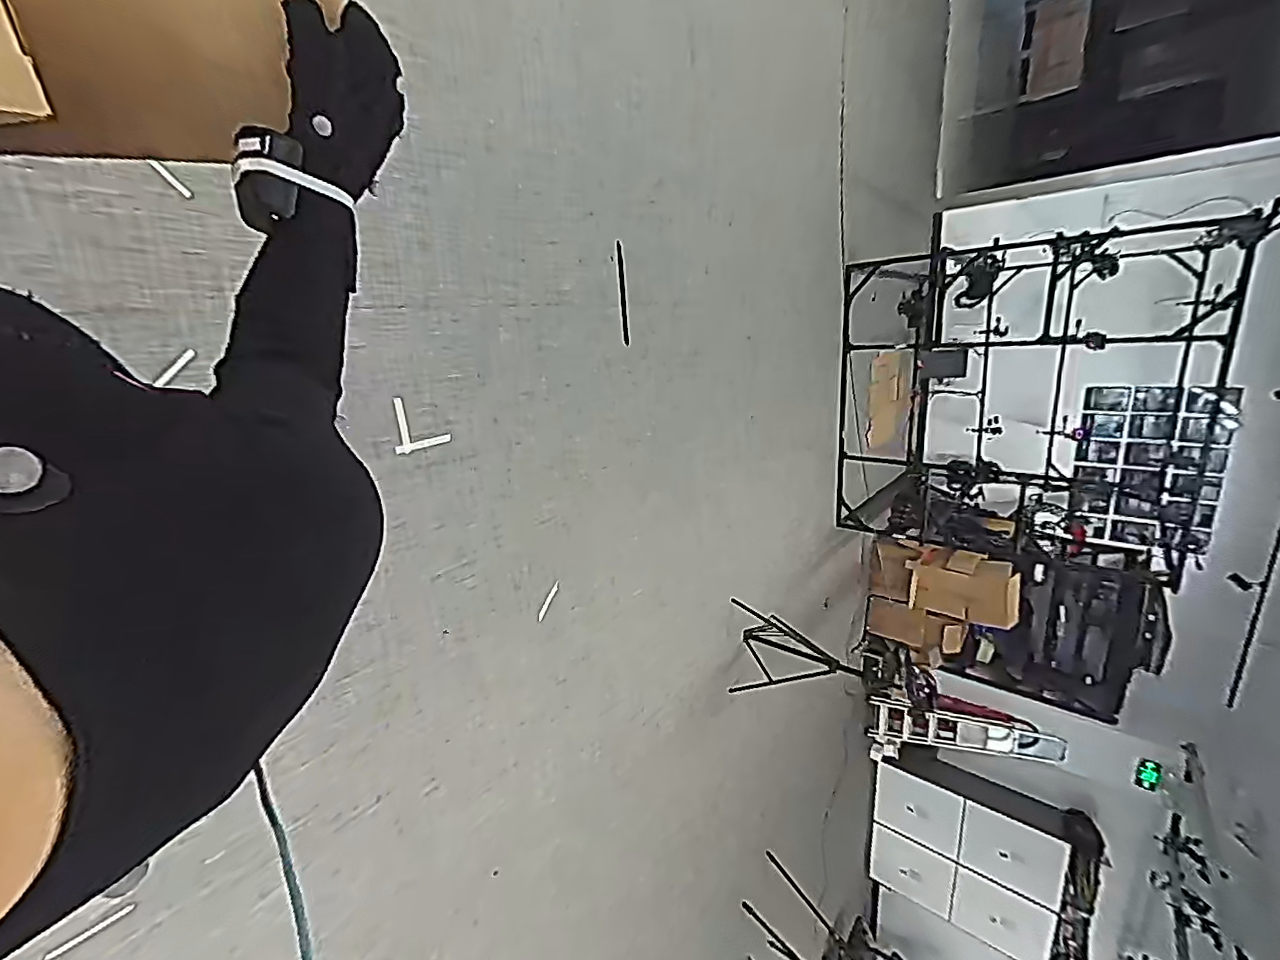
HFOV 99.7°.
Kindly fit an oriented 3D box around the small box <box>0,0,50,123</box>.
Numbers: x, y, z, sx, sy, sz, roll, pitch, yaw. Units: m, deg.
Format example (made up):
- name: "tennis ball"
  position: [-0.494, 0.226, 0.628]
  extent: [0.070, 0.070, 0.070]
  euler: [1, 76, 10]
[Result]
- name: "small box"
  position: [-0.475, -0.280, 0.260]
  extent: [0.179, 0.176, 0.168]
  euler: [-46, 142, -56]
